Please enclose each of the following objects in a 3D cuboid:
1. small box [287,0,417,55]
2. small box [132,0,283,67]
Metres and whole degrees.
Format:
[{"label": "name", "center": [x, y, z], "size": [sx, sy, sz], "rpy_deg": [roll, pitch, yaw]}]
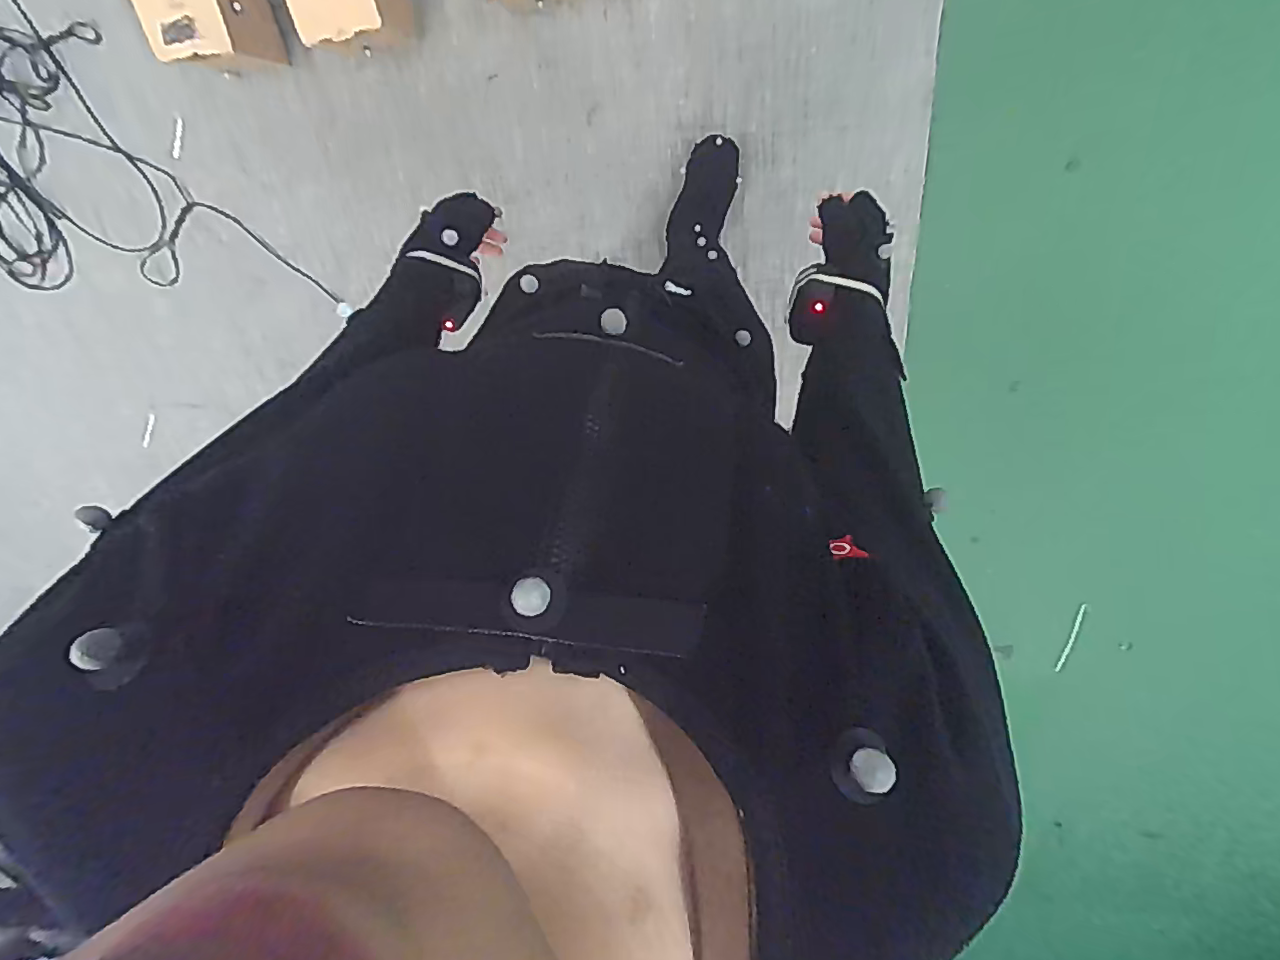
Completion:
[{"label": "small box", "center": [-0.556, -0.938, 1.021], "size": [0.168, 0.176, 0.179], "rpy_deg": [-6, 121, 9]}, {"label": "small box", "center": [-0.845, -0.925, 1.052], "size": [0.168, 0.176, 0.179], "rpy_deg": [-2, 120, 6]}]
